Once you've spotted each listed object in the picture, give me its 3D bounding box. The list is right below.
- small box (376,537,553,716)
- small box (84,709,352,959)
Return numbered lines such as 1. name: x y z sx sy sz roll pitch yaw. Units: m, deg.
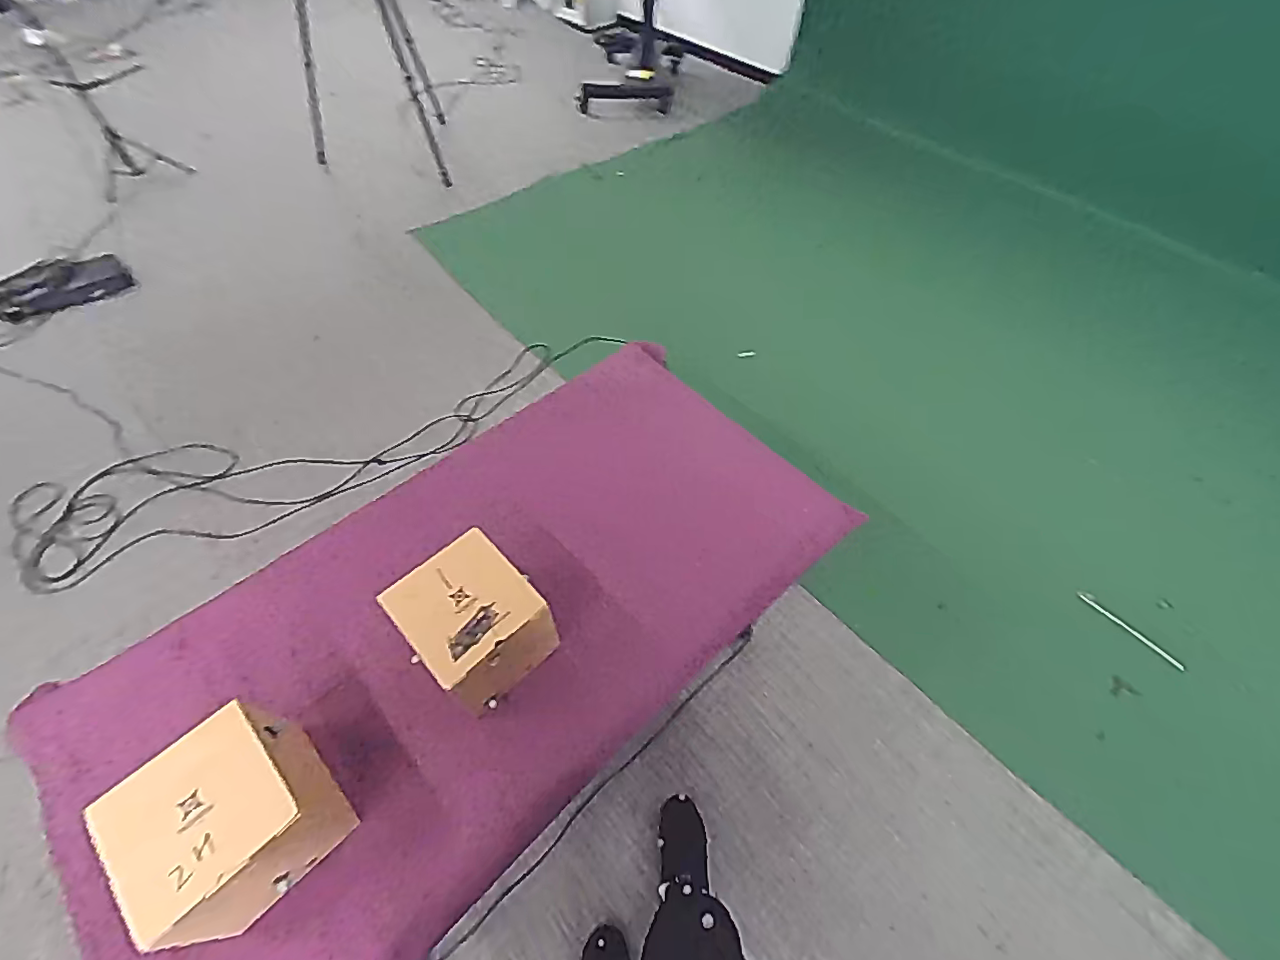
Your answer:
1. small box: -0.247 0.224 0.804 0.168 0.176 0.179 -38 62 -26
2. small box: -0.491 0.419 0.653 0.179 0.176 0.168 39 62 23
